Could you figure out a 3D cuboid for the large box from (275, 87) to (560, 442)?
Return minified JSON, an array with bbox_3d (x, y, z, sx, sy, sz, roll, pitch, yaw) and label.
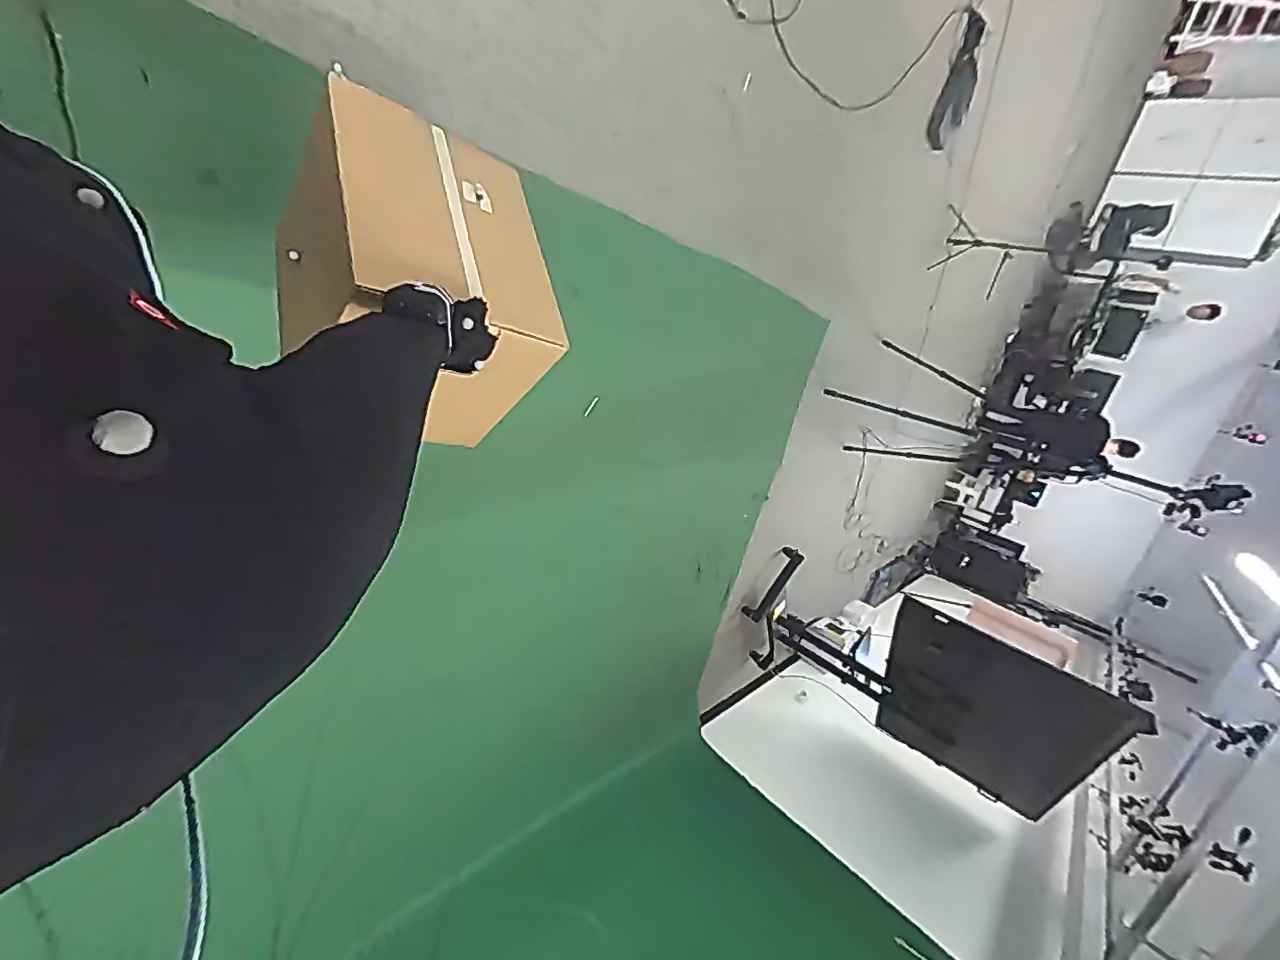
[{"bbox_3d":[-0.387,-0.315,0.904,0.320,0.408,0.320,5,149,-46],"label":"large box"}]
